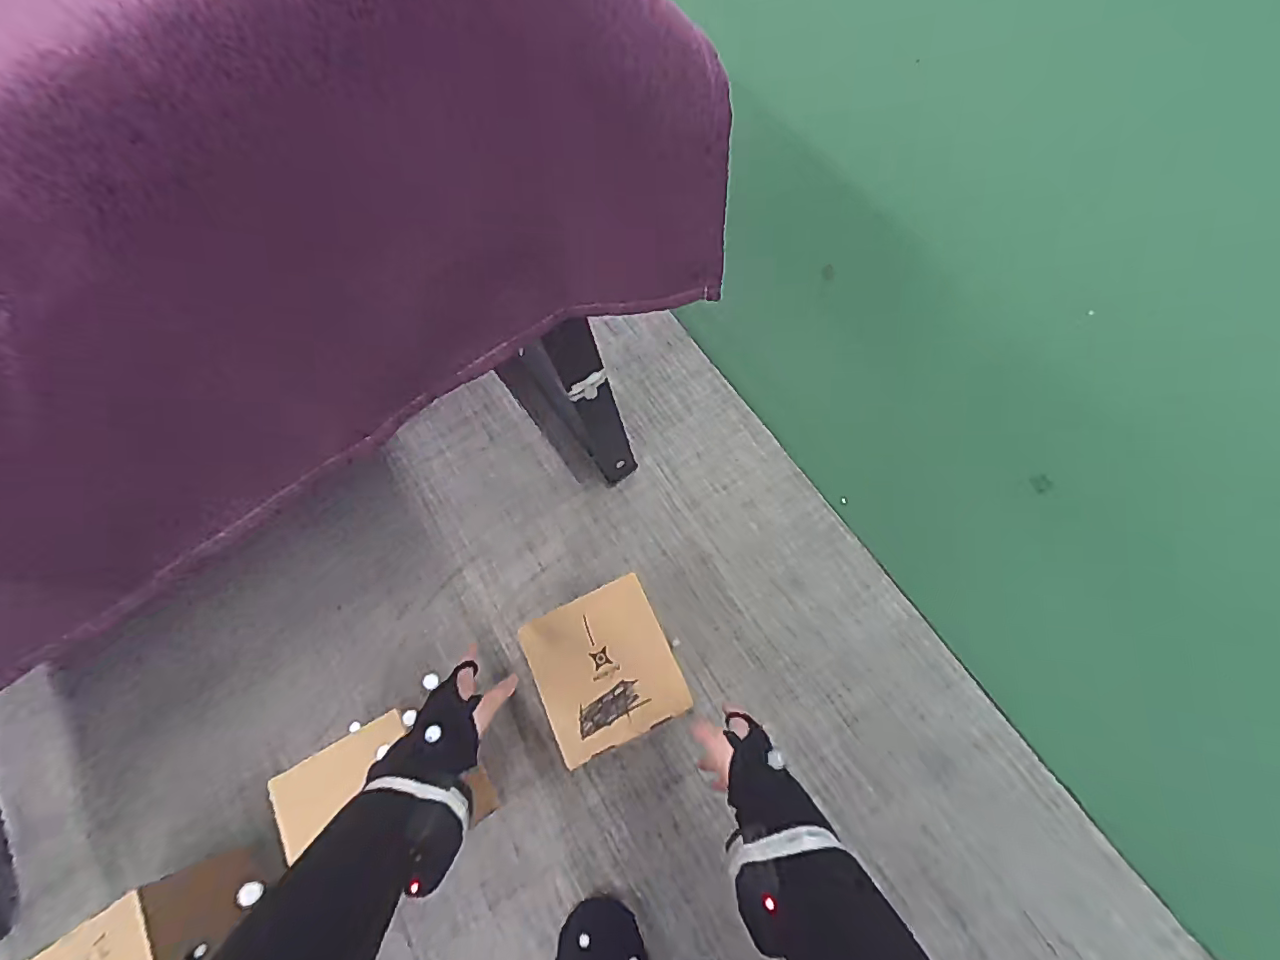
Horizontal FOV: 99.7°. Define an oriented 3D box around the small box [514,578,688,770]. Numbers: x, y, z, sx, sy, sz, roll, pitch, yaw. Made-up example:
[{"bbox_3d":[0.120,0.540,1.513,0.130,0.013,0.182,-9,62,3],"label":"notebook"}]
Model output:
[{"bbox_3d":[-0.042,0.253,0.725,0.168,0.176,0.179,-25,69,-3],"label":"small box"}]
